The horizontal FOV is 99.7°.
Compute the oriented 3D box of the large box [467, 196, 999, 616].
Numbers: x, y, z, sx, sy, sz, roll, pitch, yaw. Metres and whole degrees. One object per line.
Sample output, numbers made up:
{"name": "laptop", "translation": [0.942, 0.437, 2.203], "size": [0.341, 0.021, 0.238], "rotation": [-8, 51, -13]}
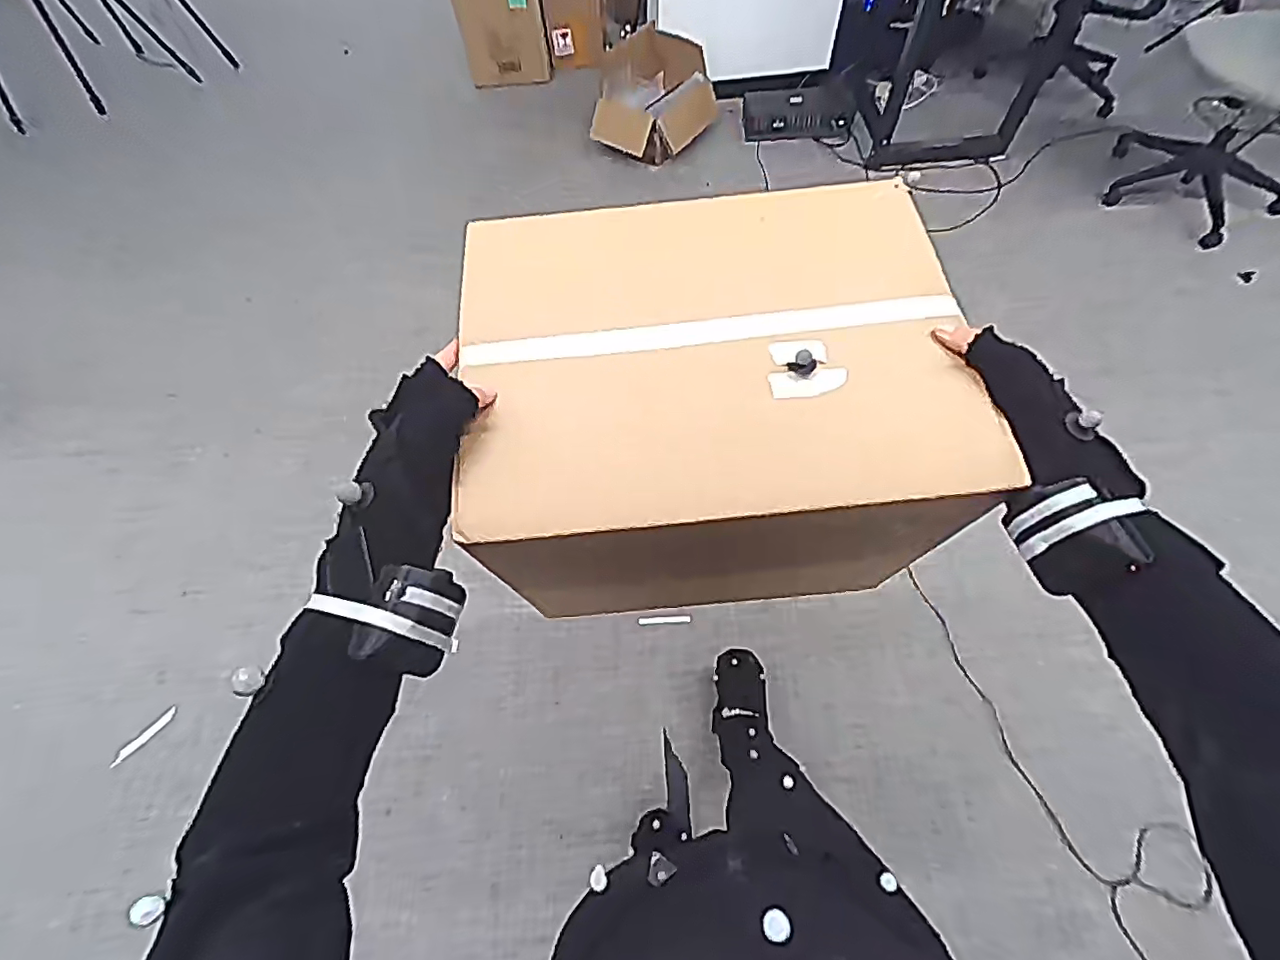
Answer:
{"name": "large box", "translation": [0.059, -0.053, 0.592], "size": [0.408, 0.320, 0.320], "rotation": [-6, 66, 0]}
